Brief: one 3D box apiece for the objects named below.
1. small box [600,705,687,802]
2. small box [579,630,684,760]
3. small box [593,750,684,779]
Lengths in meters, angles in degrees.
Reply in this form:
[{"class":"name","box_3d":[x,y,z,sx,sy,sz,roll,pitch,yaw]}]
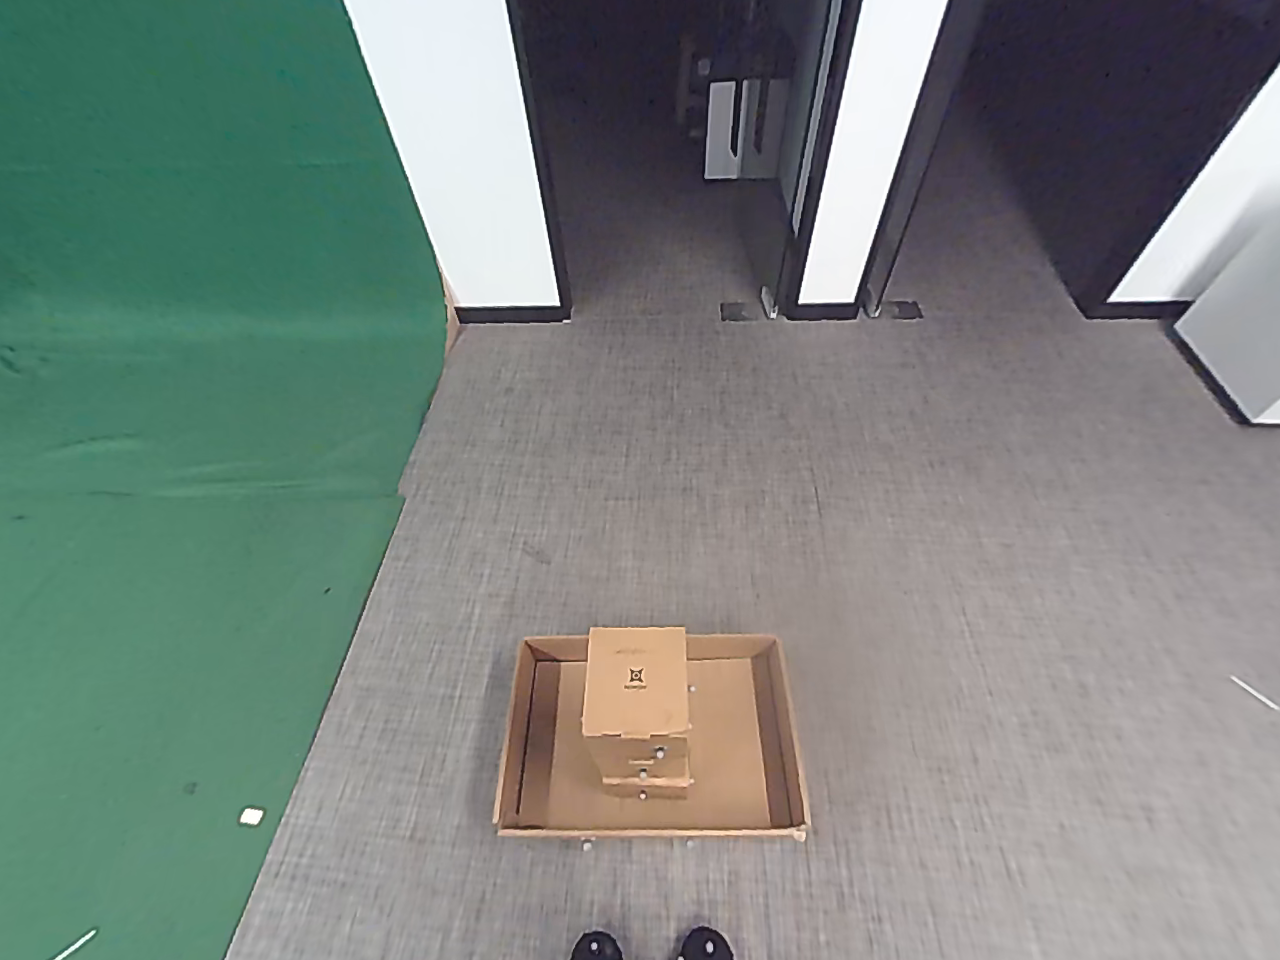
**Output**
[{"class":"small box","box_3d":[0.015,0.601,1.194,0.179,0.176,0.168,0,50,5]},{"class":"small box","box_3d":[-0.008,0.376,0.938,0.168,0.176,0.179,0,50,2]},{"class":"small box","box_3d":[0.001,0.489,1.081,0.168,0.176,0.179,-4,50,2]}]
